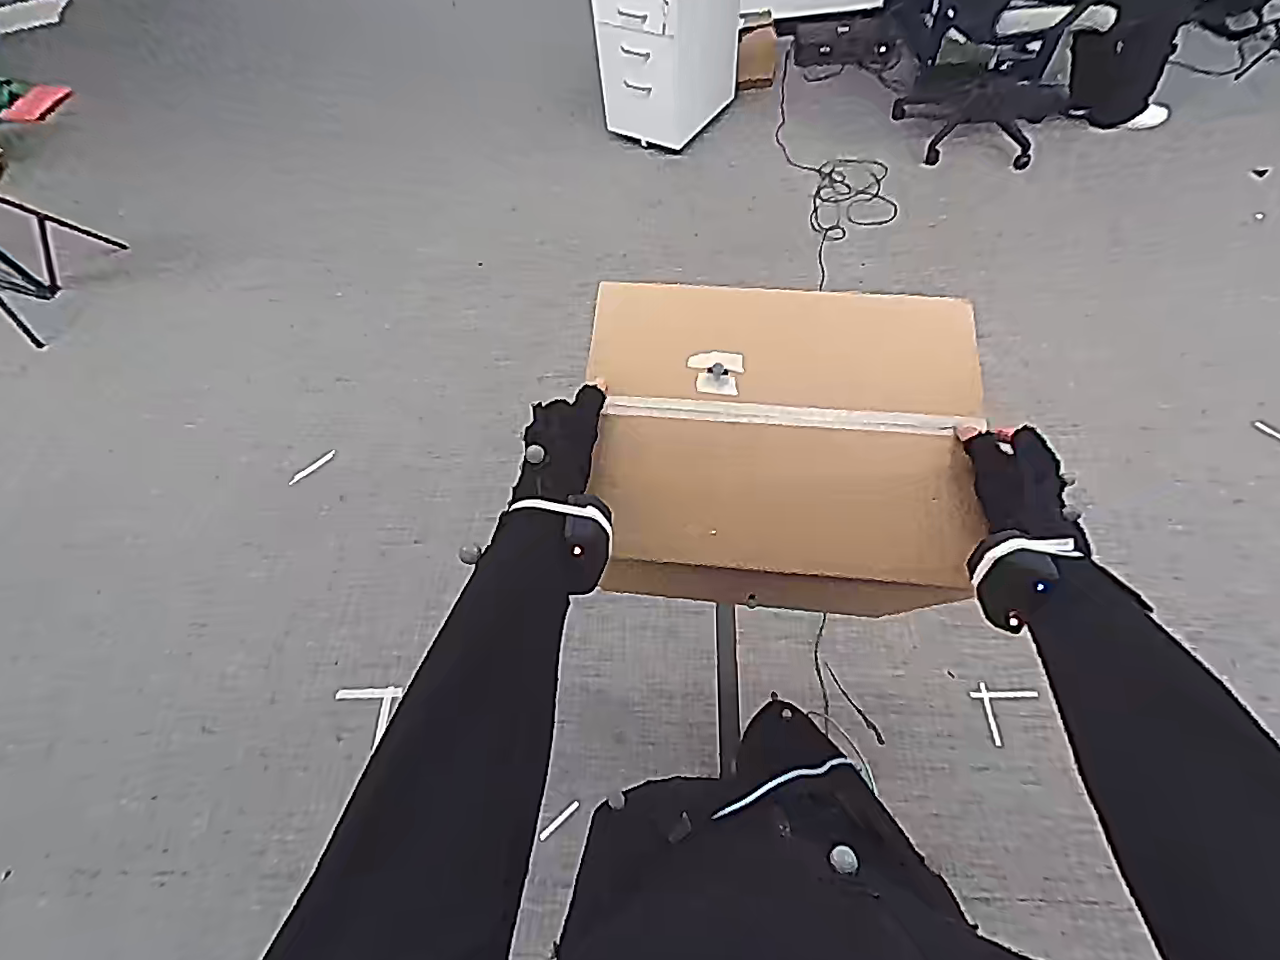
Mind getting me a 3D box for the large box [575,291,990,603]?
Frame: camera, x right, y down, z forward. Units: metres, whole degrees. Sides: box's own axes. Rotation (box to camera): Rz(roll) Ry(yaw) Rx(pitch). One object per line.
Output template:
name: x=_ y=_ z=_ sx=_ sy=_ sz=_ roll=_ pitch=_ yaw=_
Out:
large box: x=0.156 y=-0.018 z=0.708 sx=0.408 sy=0.320 sz=0.320 roll=4 pitch=71 yaw=5
